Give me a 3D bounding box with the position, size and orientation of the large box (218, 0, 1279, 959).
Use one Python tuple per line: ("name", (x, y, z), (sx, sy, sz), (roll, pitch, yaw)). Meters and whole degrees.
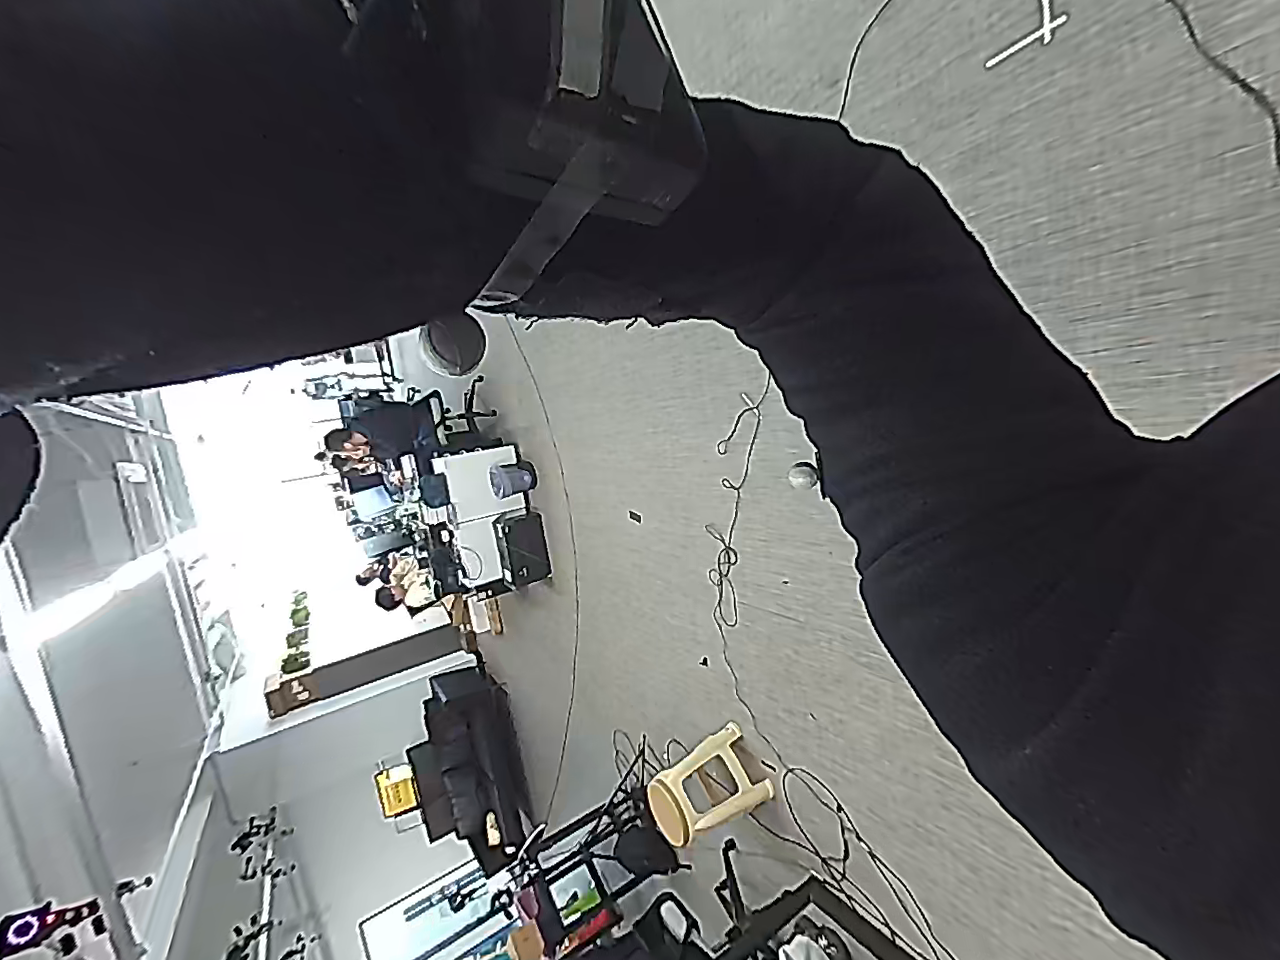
("large box", (0.133, 0.050, 0.155), (0.408, 0.320, 0.320), (16, -111, 55))
